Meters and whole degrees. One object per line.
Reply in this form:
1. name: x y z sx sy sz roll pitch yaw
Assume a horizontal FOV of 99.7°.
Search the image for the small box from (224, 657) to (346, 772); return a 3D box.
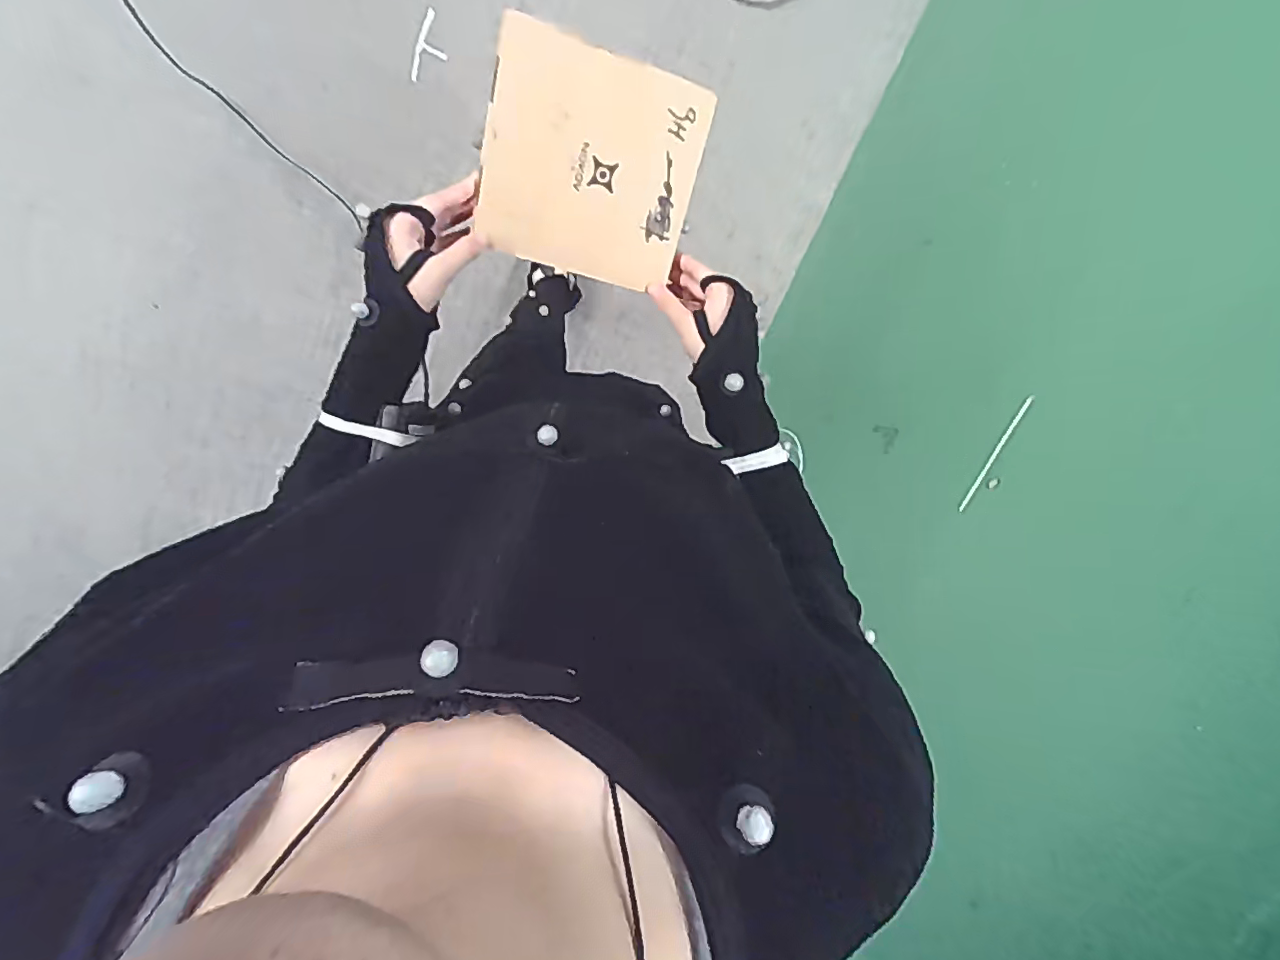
1. small box: -0.853 0.562 1.316 0.179 0.176 0.168 22 103 -8
